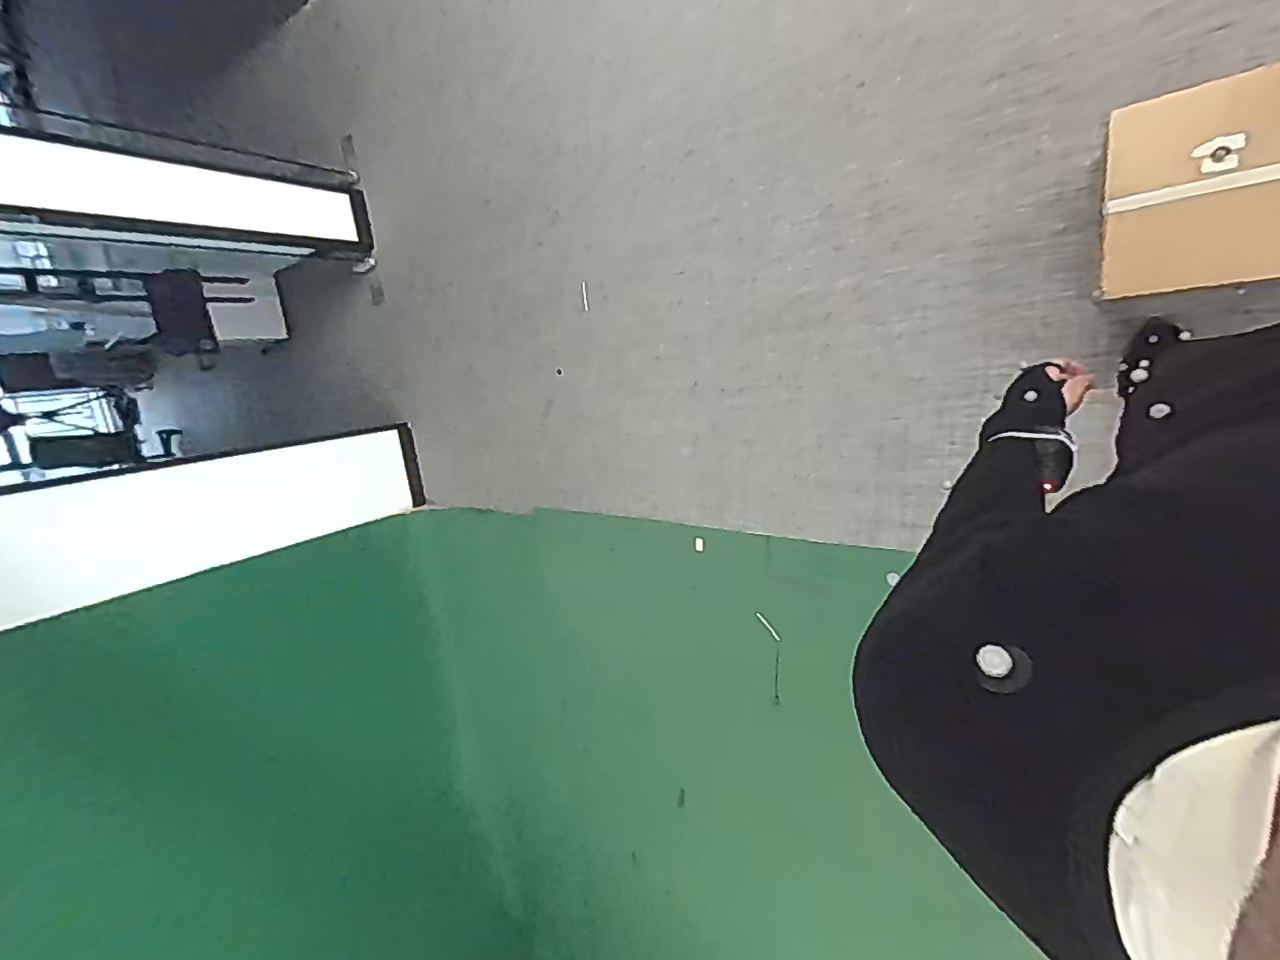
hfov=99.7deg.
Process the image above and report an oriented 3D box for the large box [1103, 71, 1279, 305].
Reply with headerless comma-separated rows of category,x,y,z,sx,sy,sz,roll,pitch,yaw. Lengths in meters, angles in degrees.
large box,1.084,-0.501,0.944,0.408,0.320,0.320,2,103,39
